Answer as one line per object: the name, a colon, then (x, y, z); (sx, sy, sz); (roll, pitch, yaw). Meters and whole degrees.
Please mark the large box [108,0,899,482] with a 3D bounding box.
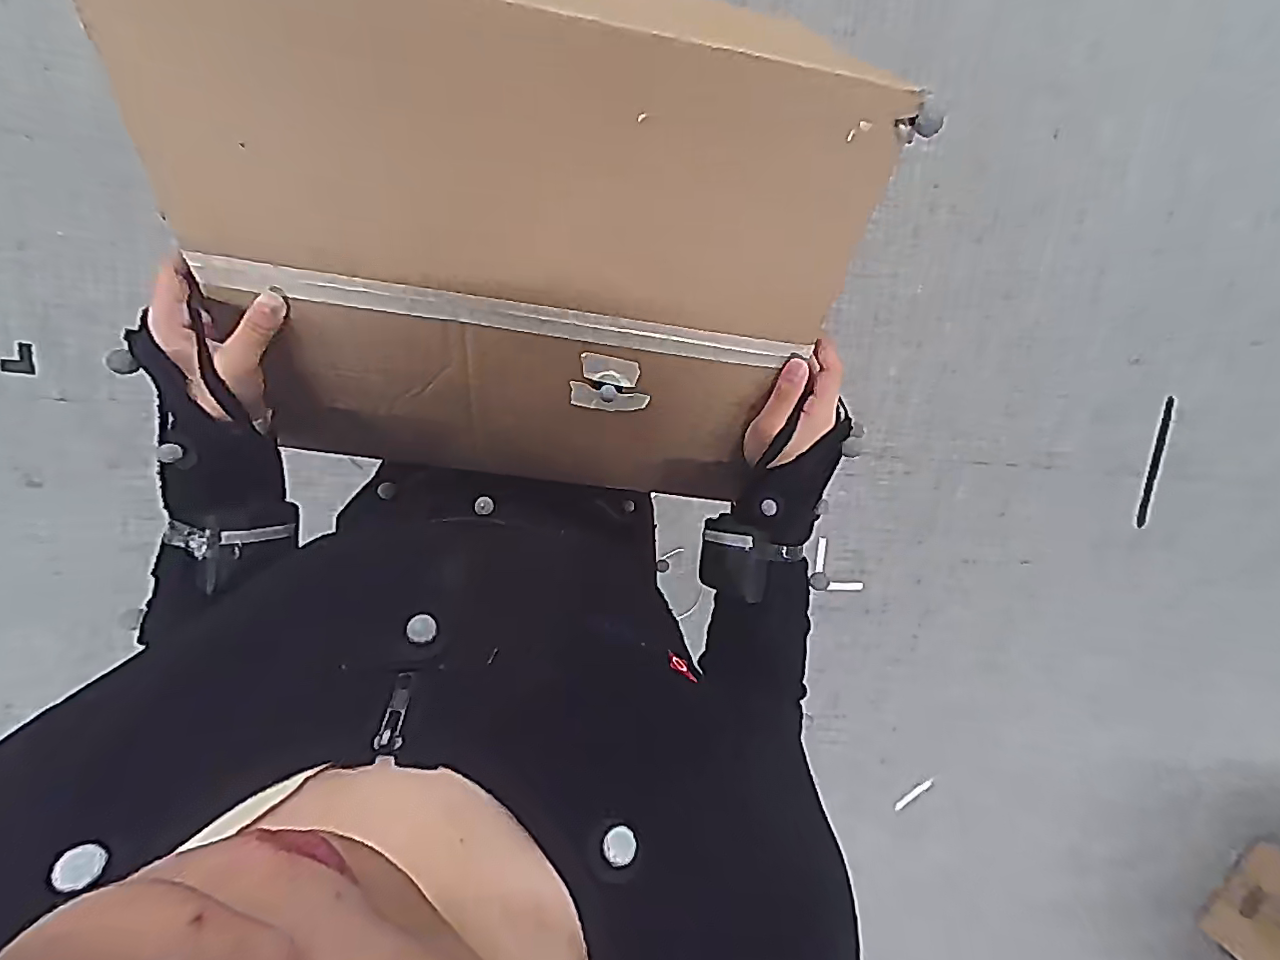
large box: (-0.081, -0.227, 0.475); (0.408, 0.320, 0.320); (6, 136, -7)
